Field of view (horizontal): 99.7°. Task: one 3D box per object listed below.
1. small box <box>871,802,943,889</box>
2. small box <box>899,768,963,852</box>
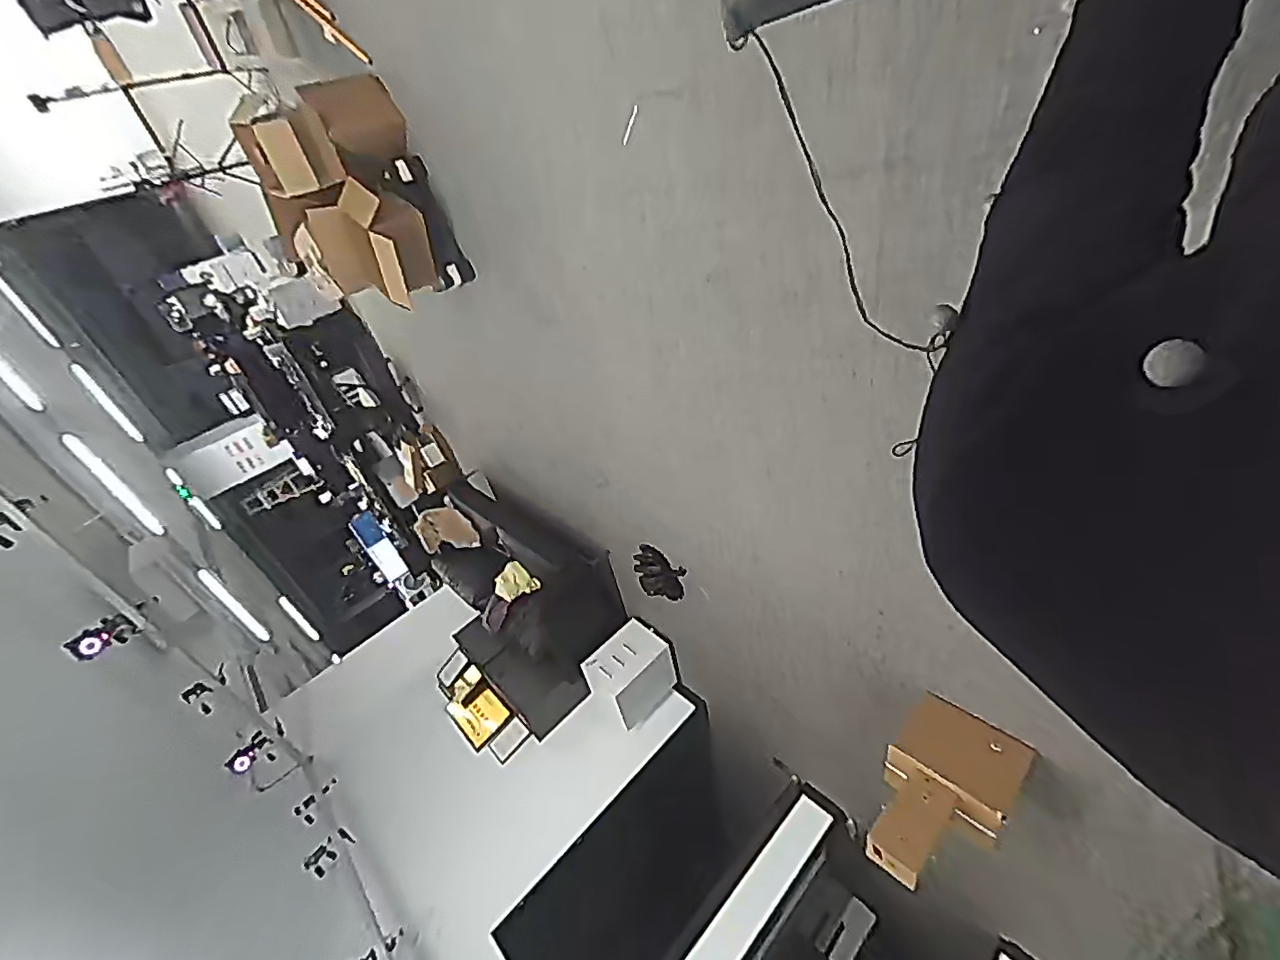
[{"bbox_3d":[0.957,1.303,1.945,0.179,0.176,0.168,24,140,46],"label":"small box"},{"bbox_3d":[1.083,1.225,2.018,0.168,0.176,0.179,23,139,44],"label":"small box"}]
